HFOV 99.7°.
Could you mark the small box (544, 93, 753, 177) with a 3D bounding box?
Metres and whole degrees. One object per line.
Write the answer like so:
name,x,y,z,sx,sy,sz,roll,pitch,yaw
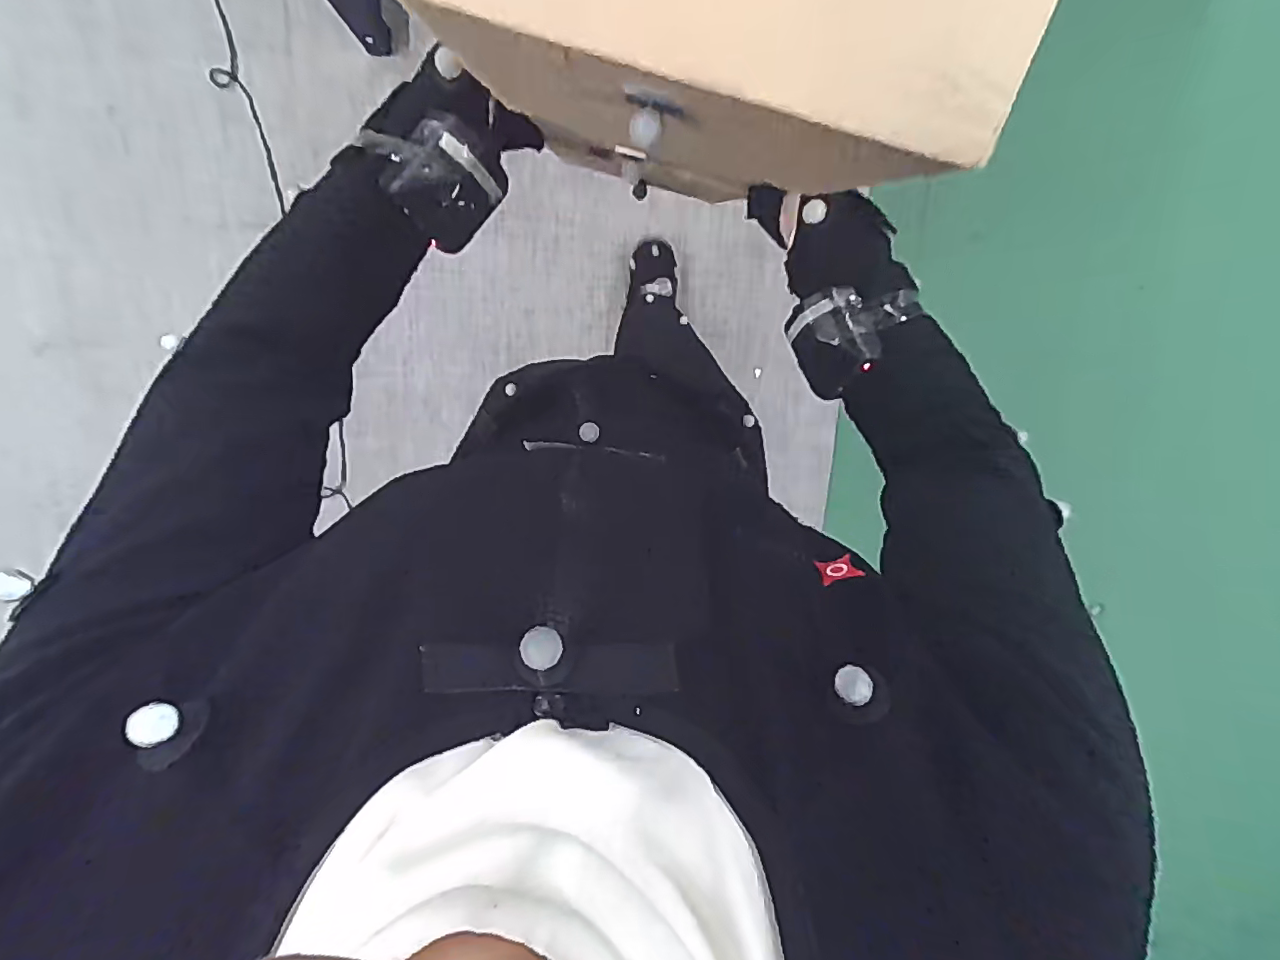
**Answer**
small box,0.021,-0.381,0.480,0.179,0.176,0.168,11,115,-8
